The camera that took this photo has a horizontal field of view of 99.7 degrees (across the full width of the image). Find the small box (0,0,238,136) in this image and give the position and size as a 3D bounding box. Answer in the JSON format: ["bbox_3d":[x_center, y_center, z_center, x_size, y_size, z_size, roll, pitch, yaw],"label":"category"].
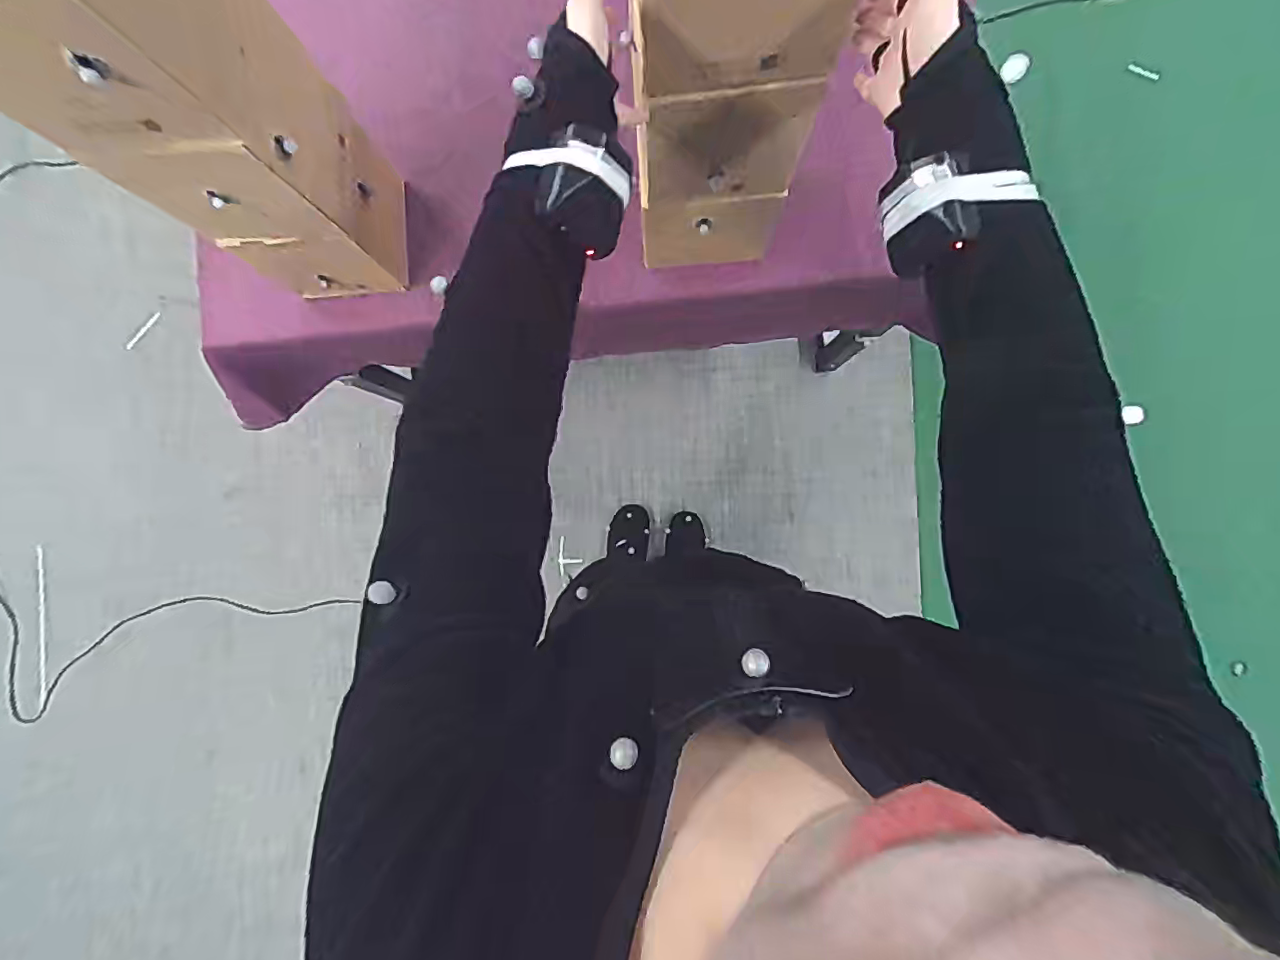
[{"bbox_3d":[-0.447,-0.393,0.412,0.168,0.176,0.179,-2,87,1],"label":"small box"}]

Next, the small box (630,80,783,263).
[{"bbox_3d":[0.082,-0.405,0.720,0.179,0.176,0.168,-3,88,2],"label":"small box"}]

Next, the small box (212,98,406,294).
[{"bbox_3d":[-0.438,-0.374,0.739,0.168,0.176,0.179,-4,88,2],"label":"small box"}]

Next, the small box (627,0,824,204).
[{"bbox_3d":[0.075,-0.420,0.556,0.168,0.176,0.179,-6,88,2],"label":"small box"}]

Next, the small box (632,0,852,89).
[{"bbox_3d":[0.071,-0.435,0.391,0.168,0.176,0.179,-5,86,3],"label":"small box"}]
